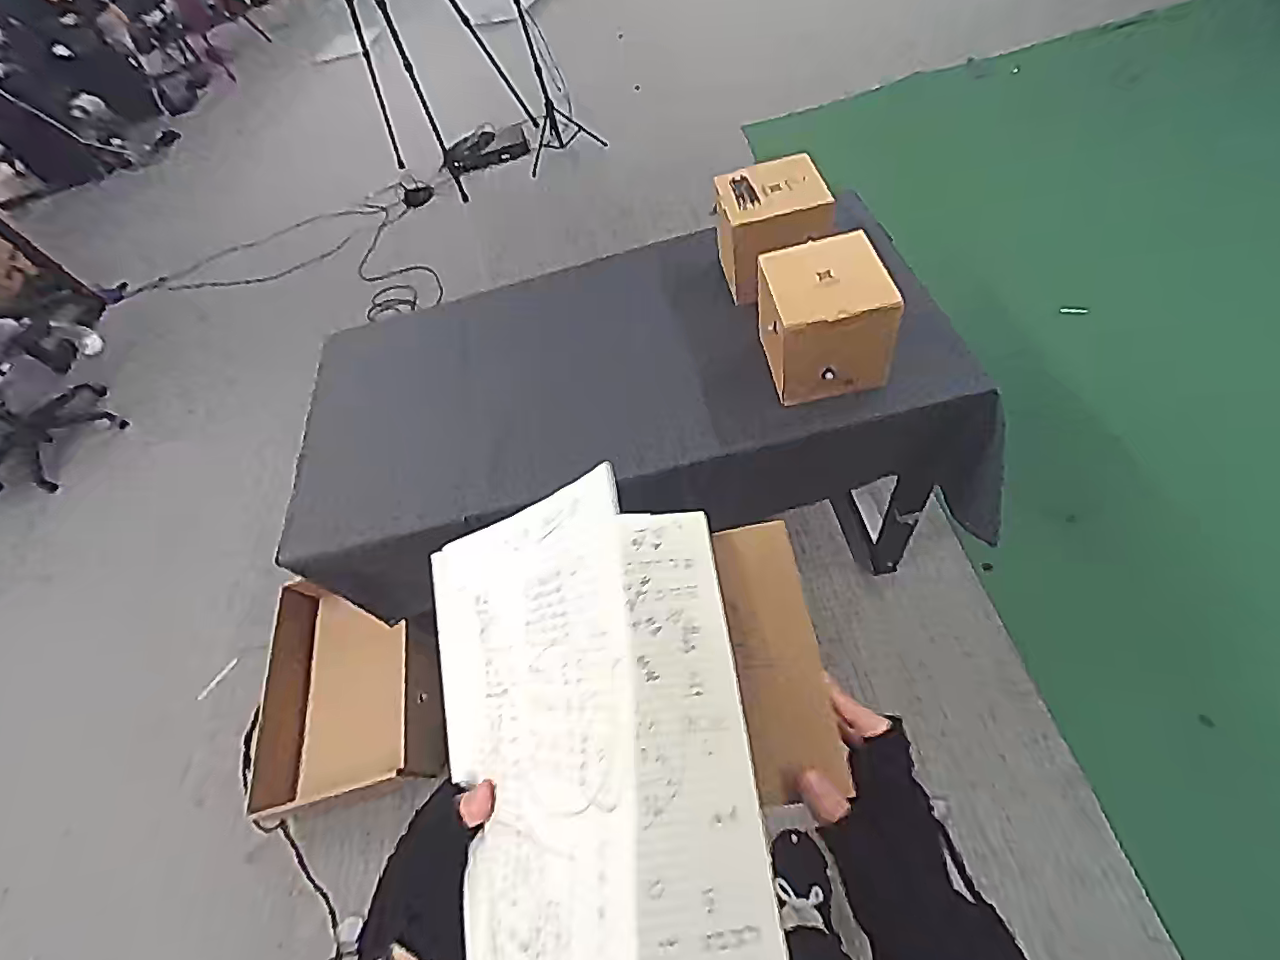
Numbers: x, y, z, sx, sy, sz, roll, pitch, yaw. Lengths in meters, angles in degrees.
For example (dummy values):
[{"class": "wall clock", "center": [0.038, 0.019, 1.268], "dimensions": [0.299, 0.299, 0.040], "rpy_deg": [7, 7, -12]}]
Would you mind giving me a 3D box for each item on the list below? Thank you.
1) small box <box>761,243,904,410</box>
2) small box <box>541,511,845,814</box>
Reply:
[{"class": "small box", "center": [0.290, -0.239, 0.861], "dimensions": [0.168, 0.176, 0.179], "rpy_deg": [-11, 55, 6]}, {"class": "small box", "center": [0.040, 0.140, 0.414], "dimensions": [0.179, 0.176, 0.168], "rpy_deg": [-12, 67, 9]}]
